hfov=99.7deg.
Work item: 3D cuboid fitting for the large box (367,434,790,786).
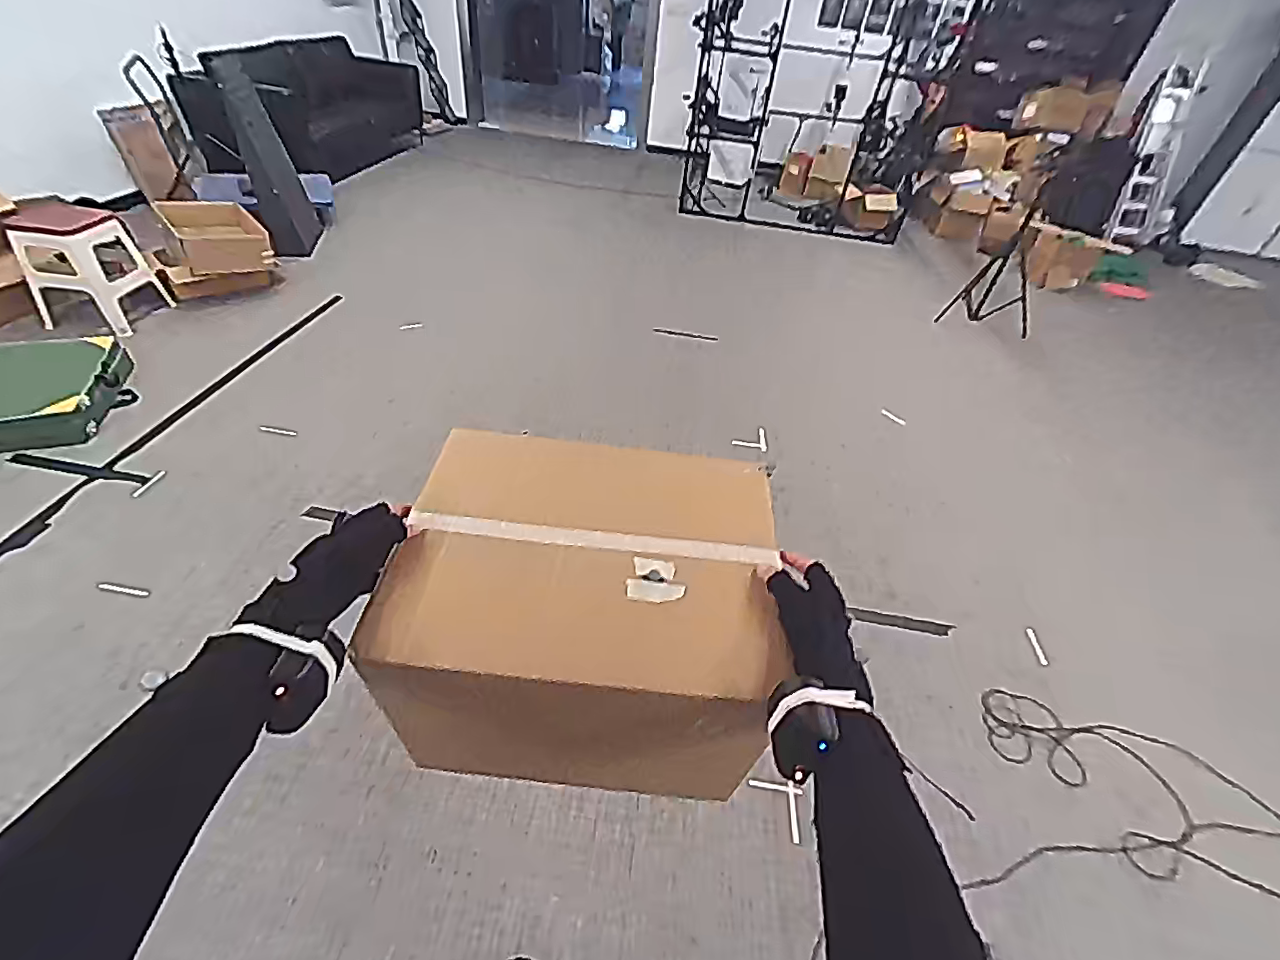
[{"bbox_3d":[-0.063,0.172,0.706,0.408,0.320,0.320,7,46,-1],"label":"large box"}]
